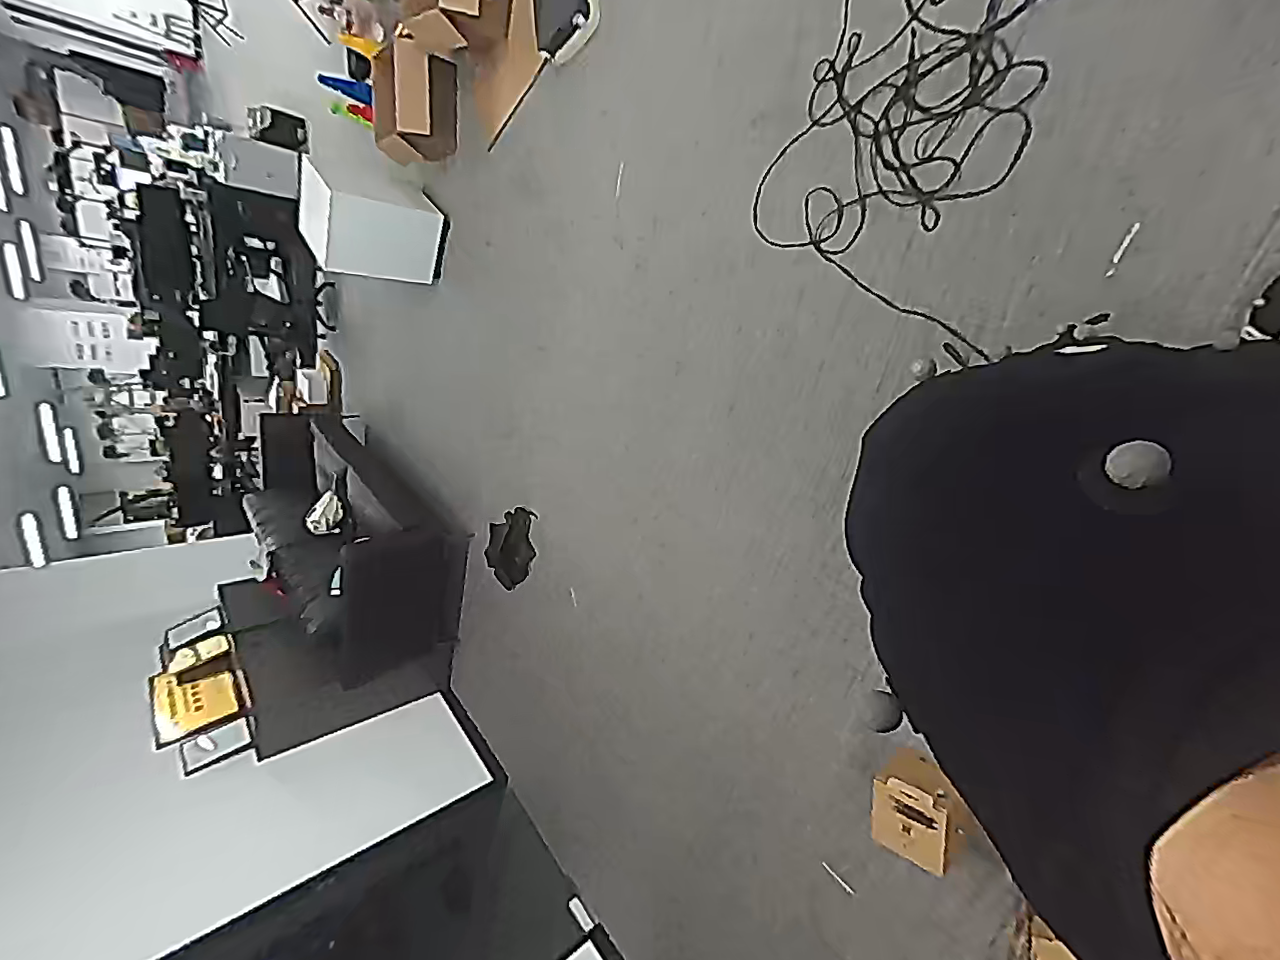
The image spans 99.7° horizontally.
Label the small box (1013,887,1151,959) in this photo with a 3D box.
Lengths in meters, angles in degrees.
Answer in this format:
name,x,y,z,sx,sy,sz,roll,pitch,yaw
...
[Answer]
name,x,y,z,sx,sy,sz,roll,pitch,yaw
small box,0.920,0.981,1.114,0.168,0.176,0.179,-41,68,44
